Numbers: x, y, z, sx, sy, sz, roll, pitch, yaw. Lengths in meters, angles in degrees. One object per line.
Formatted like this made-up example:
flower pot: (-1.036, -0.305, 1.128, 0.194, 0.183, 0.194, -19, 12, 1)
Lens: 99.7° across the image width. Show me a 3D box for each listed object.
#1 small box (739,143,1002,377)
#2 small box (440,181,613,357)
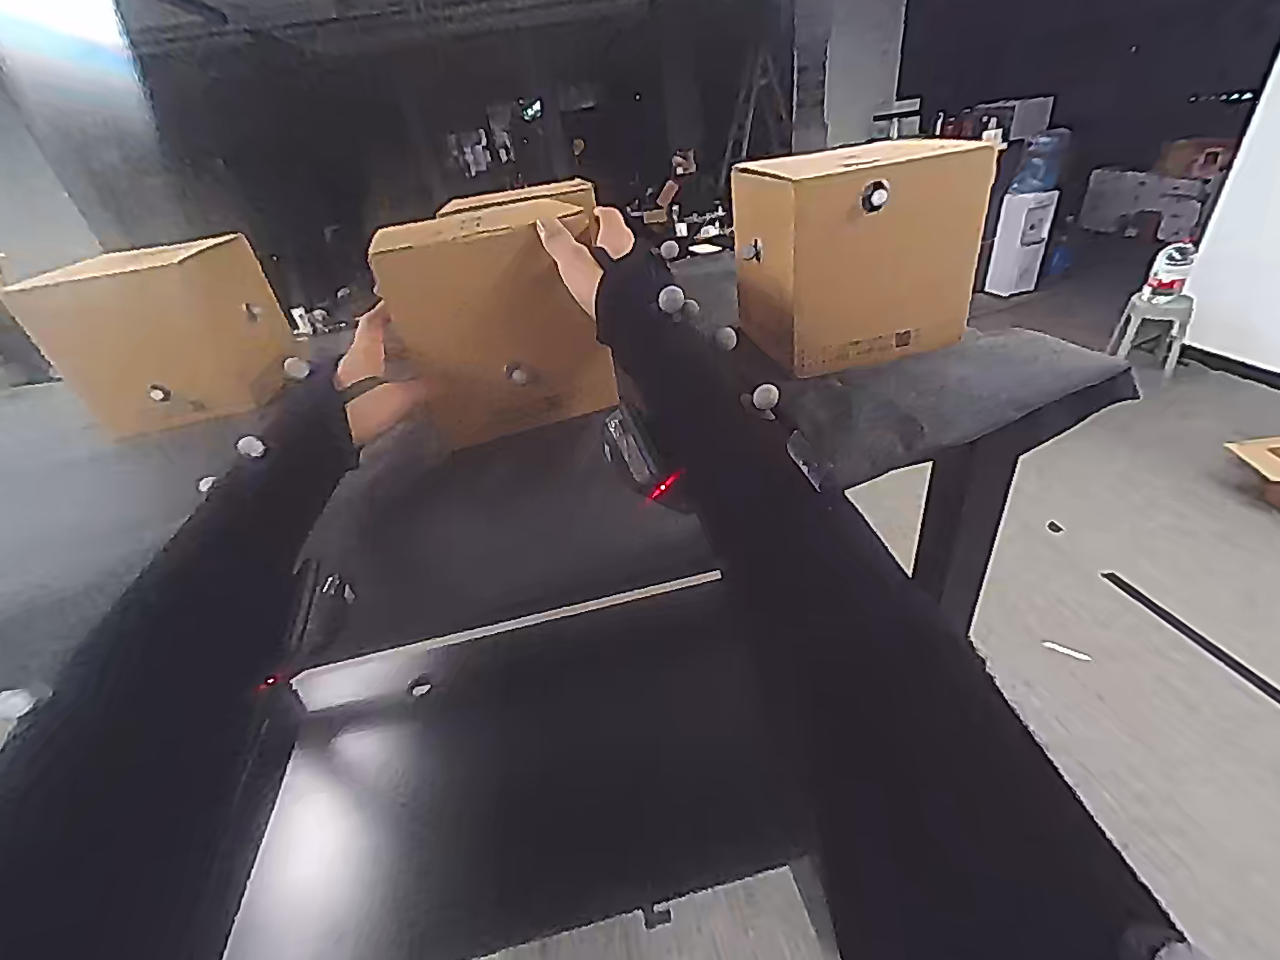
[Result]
small box: (0.199, -0.215, 0.526, 0.168, 0.176, 0.179, -11, 32, -2)
small box: (-0.134, -0.274, 0.696, 0.179, 0.176, 0.168, -11, 33, -4)
